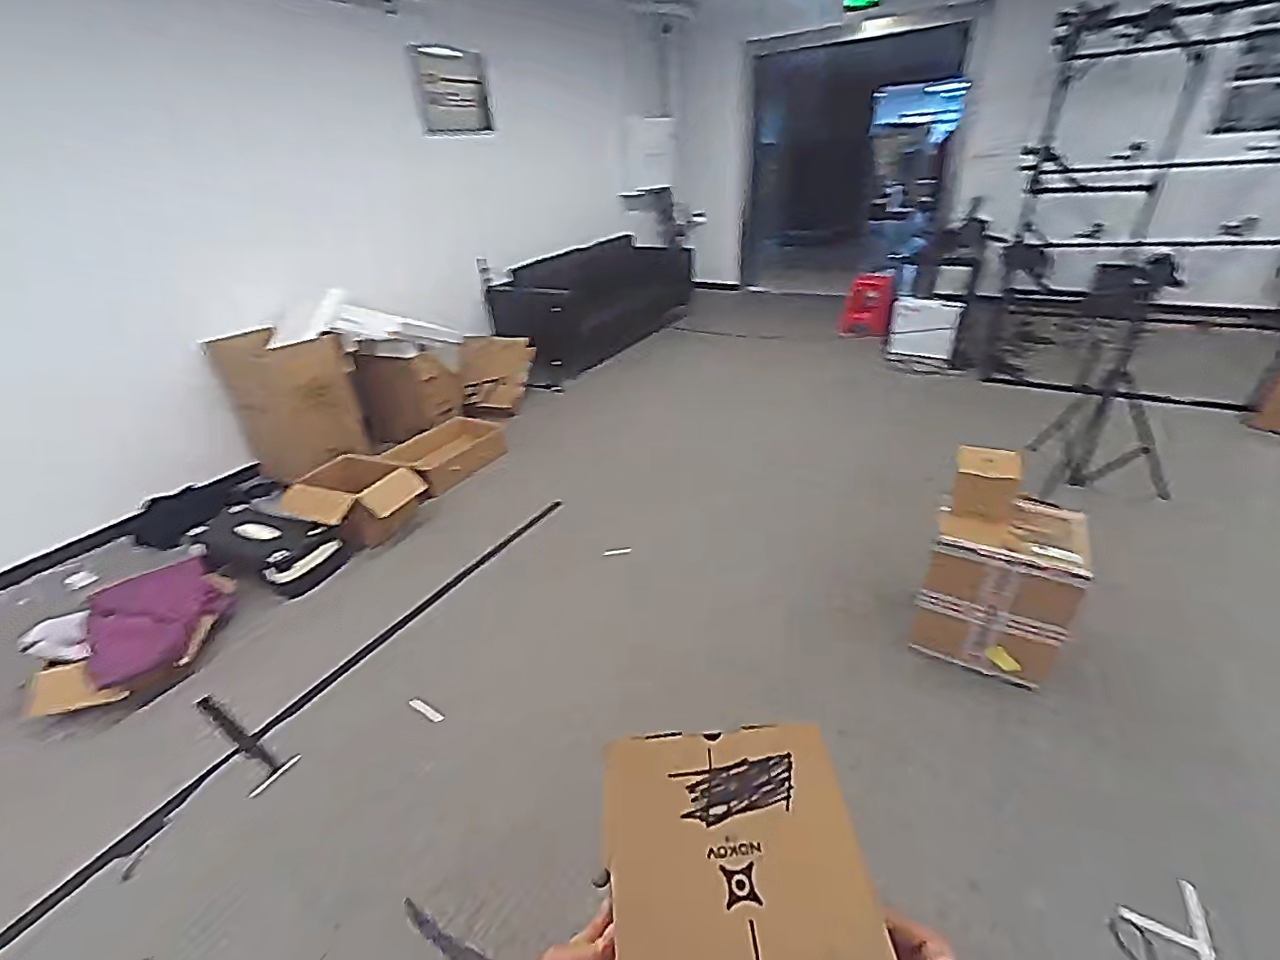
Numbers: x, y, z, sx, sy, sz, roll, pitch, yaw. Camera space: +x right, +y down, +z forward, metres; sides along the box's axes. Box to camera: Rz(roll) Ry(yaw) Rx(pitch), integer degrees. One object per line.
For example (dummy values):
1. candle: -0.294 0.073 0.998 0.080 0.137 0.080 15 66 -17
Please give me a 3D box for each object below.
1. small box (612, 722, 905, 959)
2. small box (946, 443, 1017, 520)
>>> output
1. small box: 0.065 0.305 0.399 0.168 0.176 0.179 -3 44 -5
2. small box: 1.097 0.003 1.743 0.168 0.176 0.179 10 37 27
